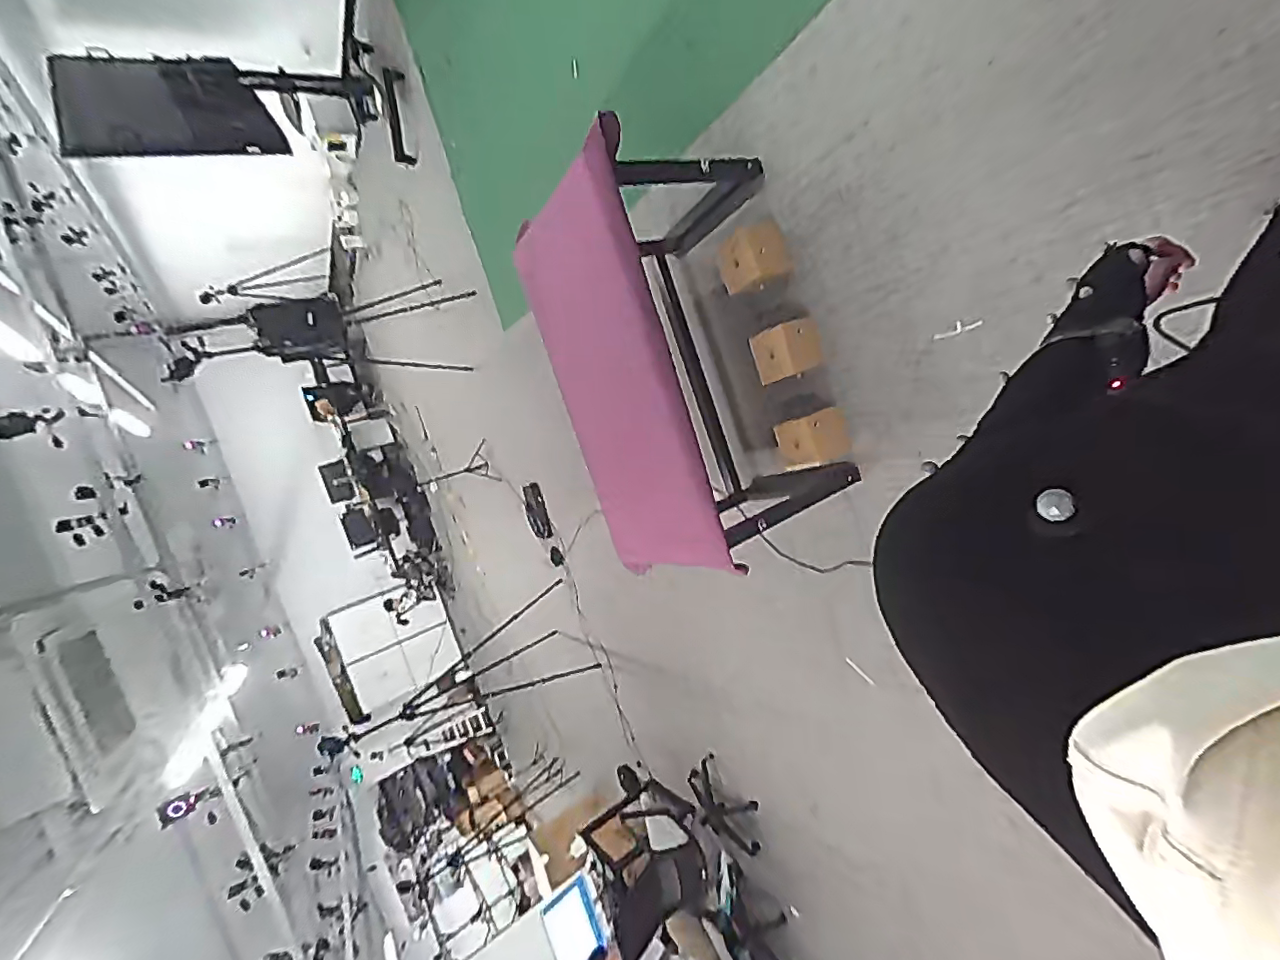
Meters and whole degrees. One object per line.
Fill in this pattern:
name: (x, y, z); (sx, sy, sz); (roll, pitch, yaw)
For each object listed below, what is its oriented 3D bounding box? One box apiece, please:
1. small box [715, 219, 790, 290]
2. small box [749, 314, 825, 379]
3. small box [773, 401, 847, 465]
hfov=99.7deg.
small box: (0.402, -0.799, 1.912); (0.168, 0.176, 0.179); (-17, 94, 59)
small box: (0.524, -0.479, 1.922); (0.168, 0.176, 0.179); (-10, 100, 59)
small box: (0.621, -0.171, 1.960); (0.168, 0.176, 0.179); (-12, 98, 59)
